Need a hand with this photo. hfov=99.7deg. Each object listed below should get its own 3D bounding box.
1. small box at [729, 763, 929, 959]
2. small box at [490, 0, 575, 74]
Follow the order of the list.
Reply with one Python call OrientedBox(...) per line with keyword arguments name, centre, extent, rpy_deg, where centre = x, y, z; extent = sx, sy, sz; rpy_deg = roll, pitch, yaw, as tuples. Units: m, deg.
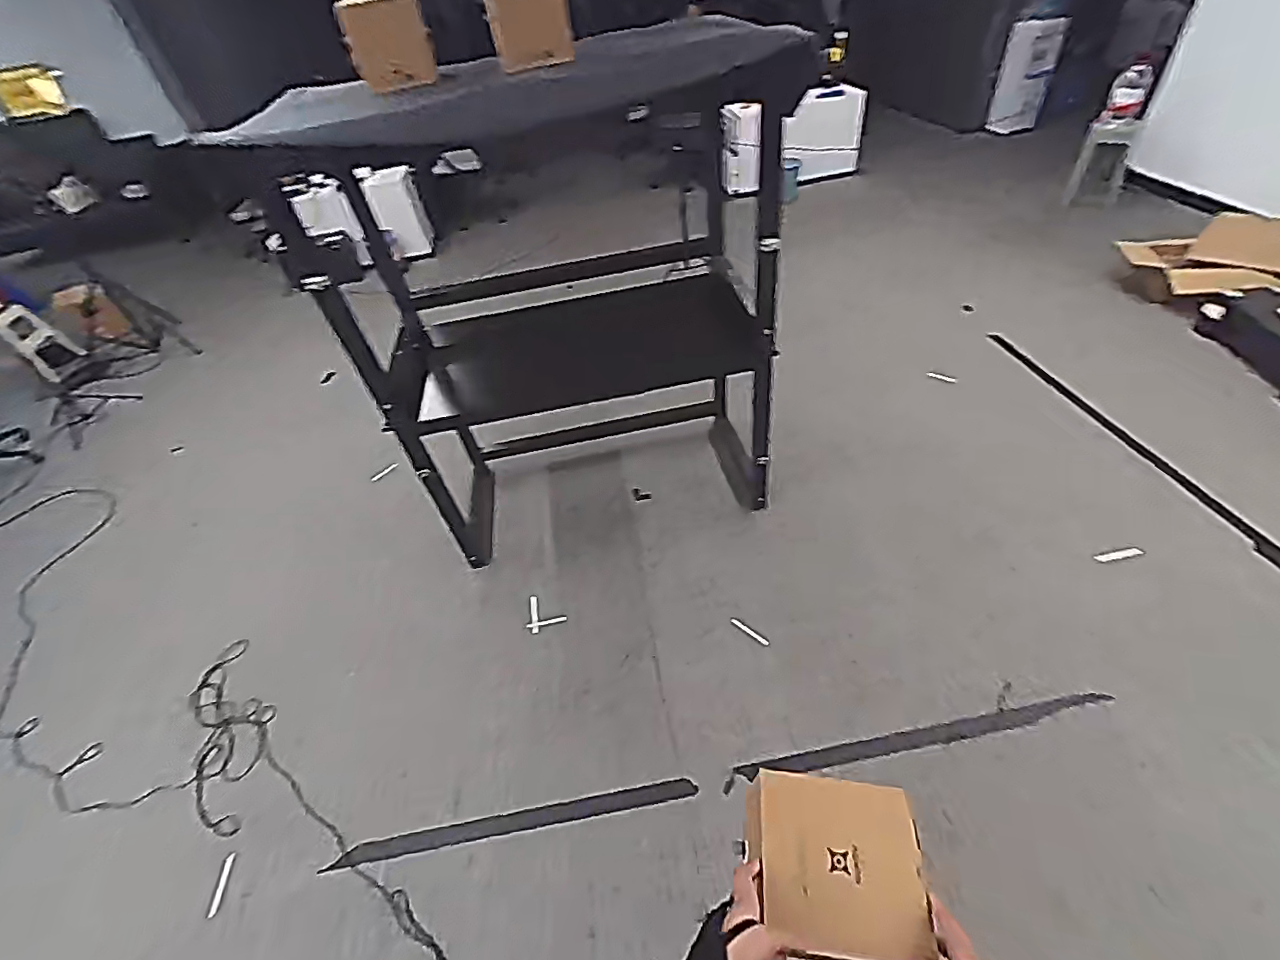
OrientedBox(name="small box", centre=(0.207, 0.460, 0.648), extent=(0.179, 0.176, 0.168), rpy_deg=(6, 48, 4))
OrientedBox(name="small box", centre=(-0.261, -1.091, 1.294), extent=(0.168, 0.176, 0.179), rpy_deg=(-16, 44, -6))
